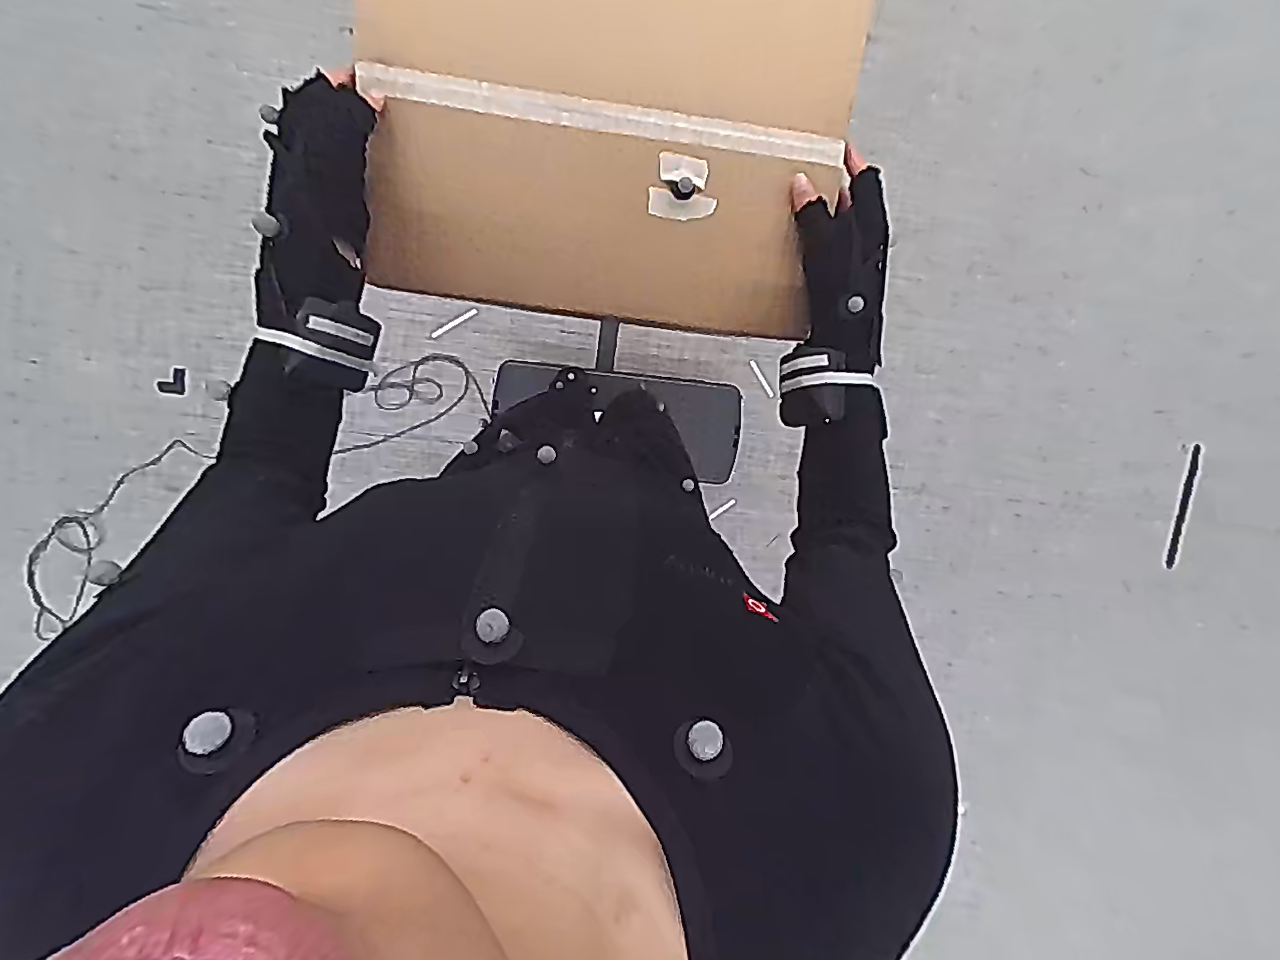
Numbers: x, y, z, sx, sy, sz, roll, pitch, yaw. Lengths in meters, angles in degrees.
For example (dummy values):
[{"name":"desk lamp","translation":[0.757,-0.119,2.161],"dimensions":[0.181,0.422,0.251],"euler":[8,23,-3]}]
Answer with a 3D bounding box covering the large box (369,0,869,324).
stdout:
[{"name":"large box","translation":[-0.032,-0.351,0.593],"dimensions":[0.408,0.320,0.320],"euler":[5,106,-6]}]
